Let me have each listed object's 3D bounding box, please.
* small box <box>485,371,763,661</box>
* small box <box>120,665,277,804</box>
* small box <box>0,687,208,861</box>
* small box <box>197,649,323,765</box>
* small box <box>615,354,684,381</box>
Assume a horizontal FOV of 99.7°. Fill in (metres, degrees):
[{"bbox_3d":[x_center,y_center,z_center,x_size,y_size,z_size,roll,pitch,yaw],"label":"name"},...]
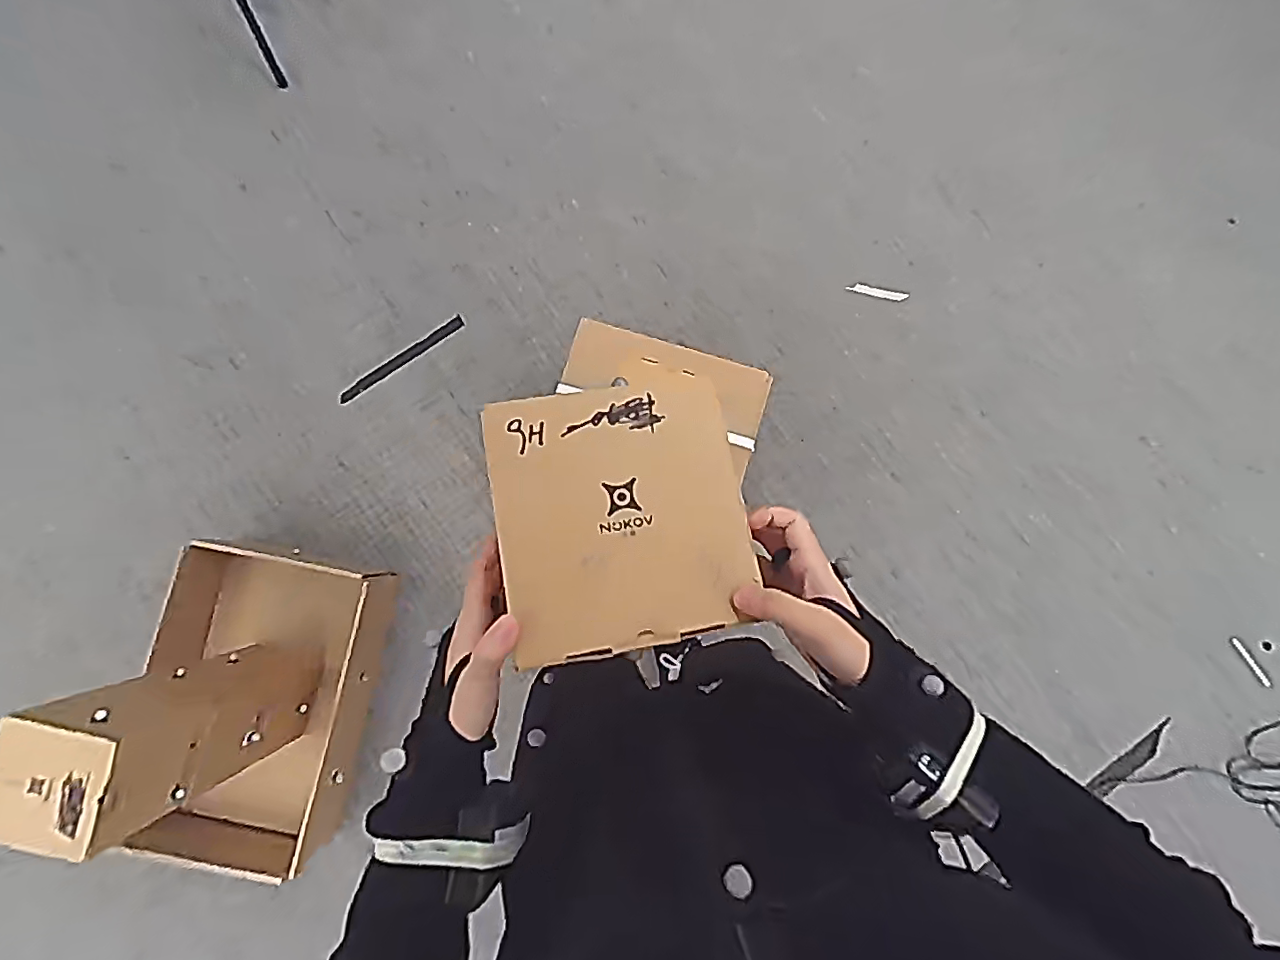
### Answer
[{"bbox_3d":[-0.021,0.032,0.437,0.168,0.176,0.179,-9,79,-10],"label":"small box"},{"bbox_3d":[-0.819,0.451,0.989,0.179,0.176,0.168,14,84,-1],"label":"small box"},{"bbox_3d":[-0.820,0.433,0.826,0.179,0.176,0.168,12,84,1],"label":"small box"},{"bbox_3d":[-0.823,0.470,1.150,0.179,0.176,0.168,15,84,0],"label":"small box"},{"bbox_3d":[0.022,-0.099,0.983,0.168,0.176,0.179,17,83,0],"label":"small box"}]
